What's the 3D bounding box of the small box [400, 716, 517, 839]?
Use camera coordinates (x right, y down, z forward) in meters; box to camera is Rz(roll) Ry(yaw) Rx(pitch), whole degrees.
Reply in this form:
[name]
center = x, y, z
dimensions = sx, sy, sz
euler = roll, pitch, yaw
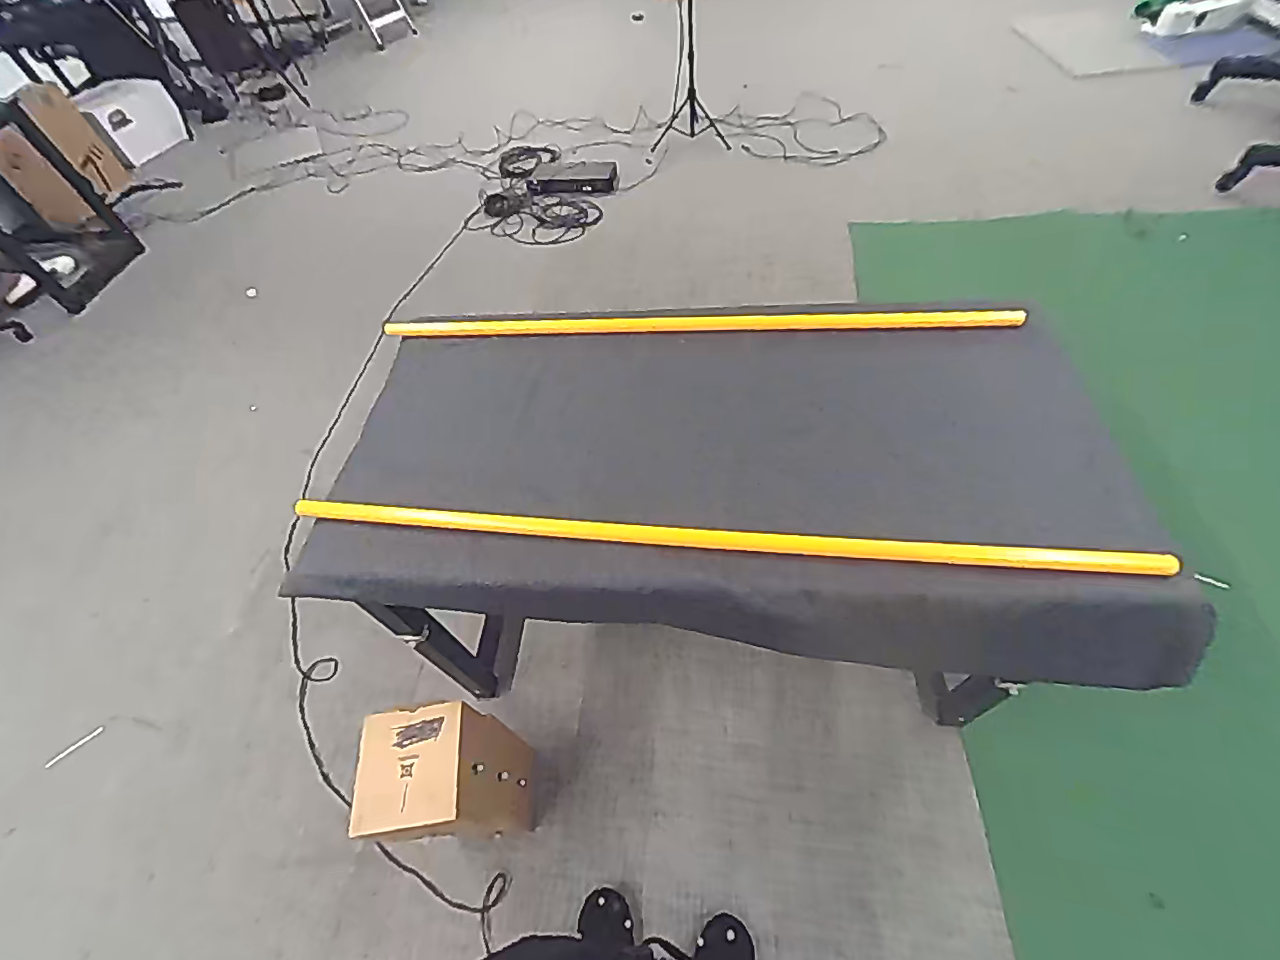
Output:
[small box]
center = -0.347, 0.589, 1.062
dimensions = 0.168, 0.176, 0.179
euler = -13, 53, -1
